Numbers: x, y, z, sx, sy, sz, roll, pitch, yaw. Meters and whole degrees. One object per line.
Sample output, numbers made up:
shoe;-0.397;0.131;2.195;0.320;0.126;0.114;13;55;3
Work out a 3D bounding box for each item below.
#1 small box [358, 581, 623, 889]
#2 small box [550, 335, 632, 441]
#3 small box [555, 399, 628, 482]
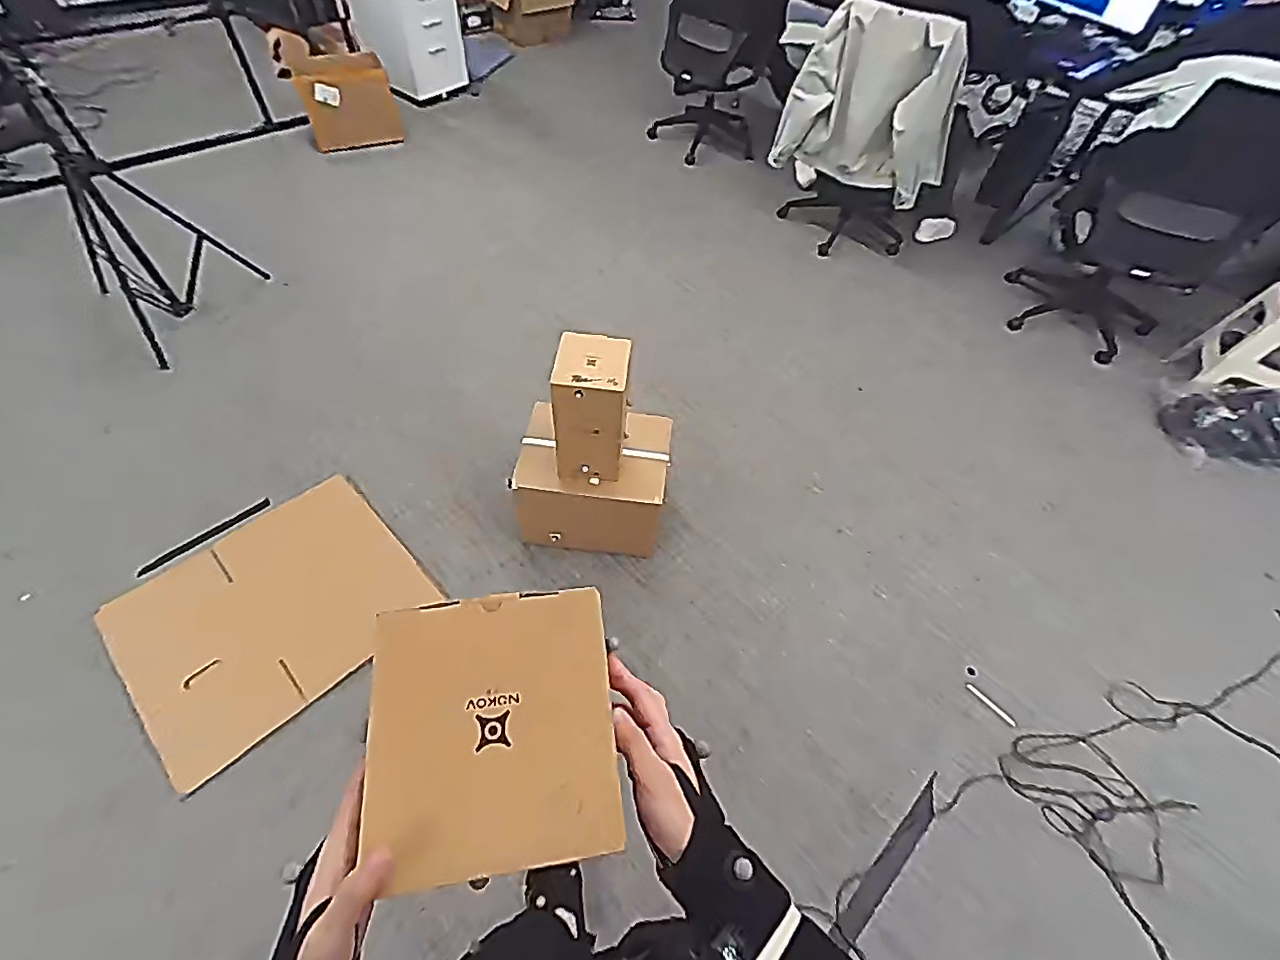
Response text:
small box;-0.106;0.197;0.441;0.168;0.176;0.179;-5;62;-8
small box;-0.114;-0.217;1.288;0.168;0.176;0.179;6;53;0
small box;-0.125;-0.119;1.420;0.168;0.176;0.179;6;55;0
